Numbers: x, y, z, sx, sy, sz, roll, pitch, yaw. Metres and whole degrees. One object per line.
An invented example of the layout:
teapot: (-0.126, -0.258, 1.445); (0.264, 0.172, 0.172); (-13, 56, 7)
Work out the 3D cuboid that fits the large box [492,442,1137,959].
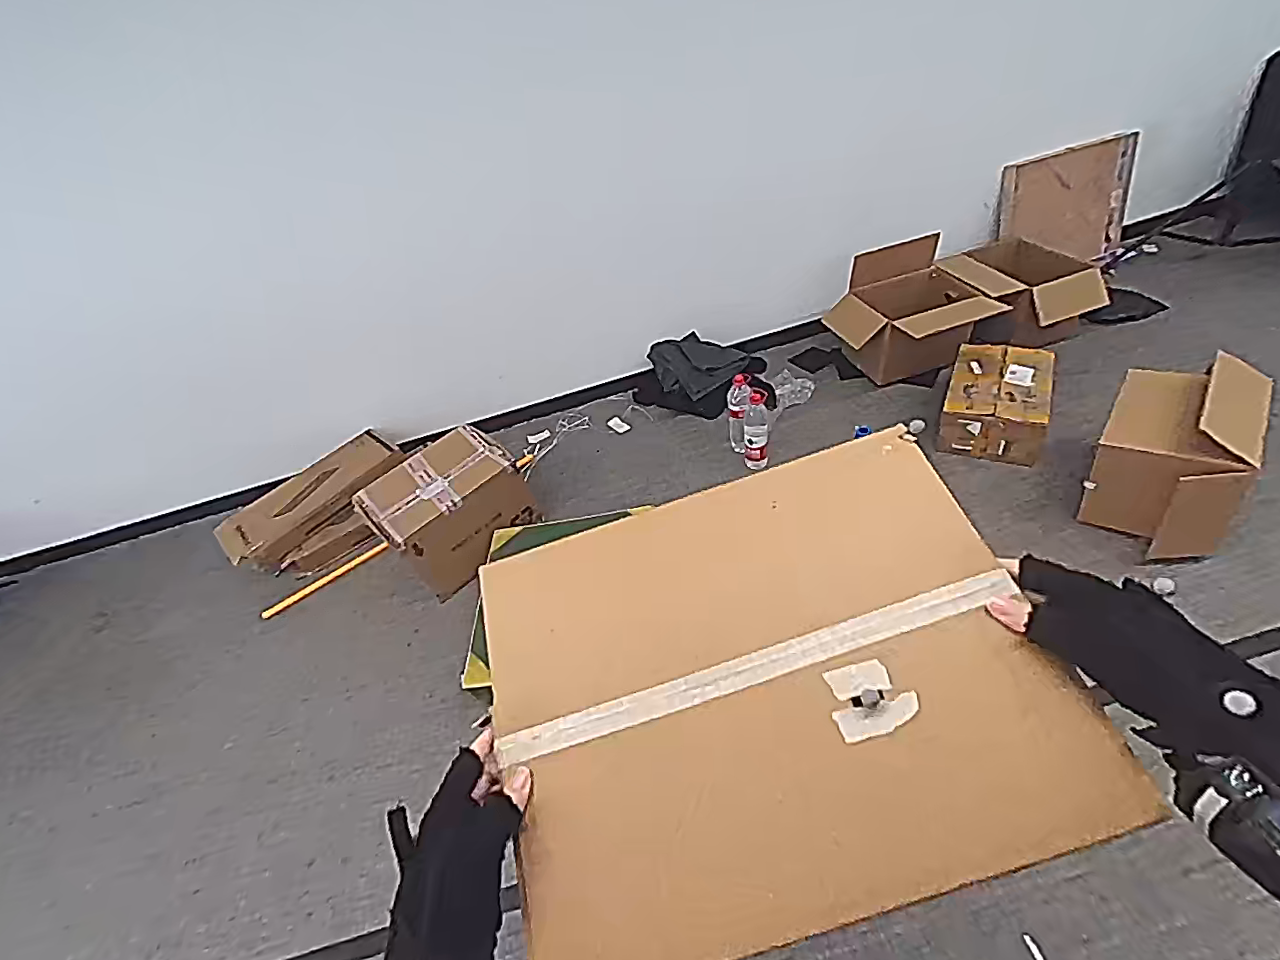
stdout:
large box: (0.115, 0.226, 0.546); (0.408, 0.320, 0.320); (-19, 59, 0)
